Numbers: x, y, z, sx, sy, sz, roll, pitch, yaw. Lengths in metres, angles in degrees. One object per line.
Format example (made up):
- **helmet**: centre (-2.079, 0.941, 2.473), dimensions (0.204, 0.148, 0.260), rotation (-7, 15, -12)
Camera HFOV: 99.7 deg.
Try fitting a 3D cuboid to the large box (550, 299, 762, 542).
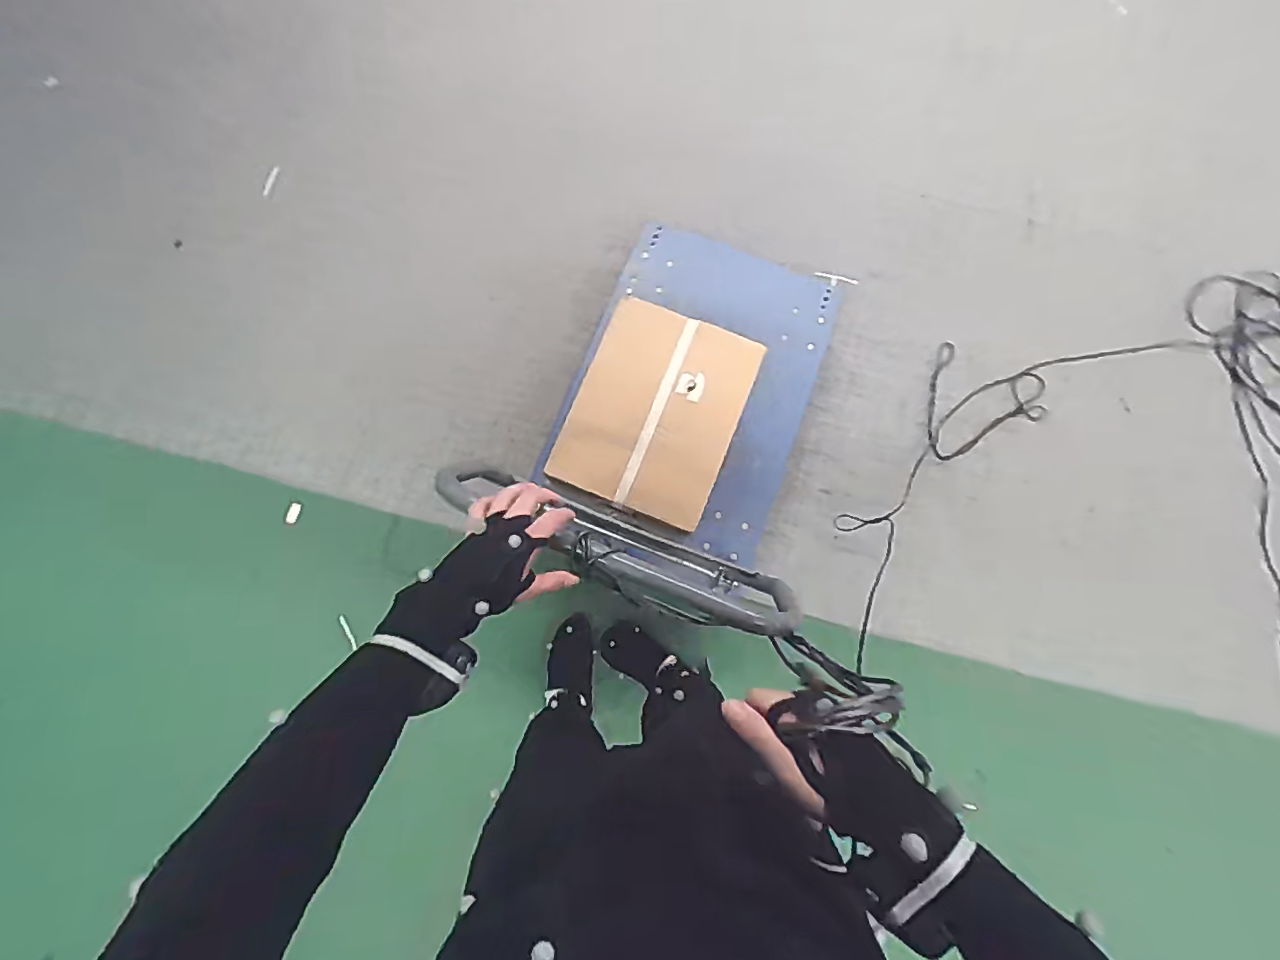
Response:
- **large box**: centre (0.037, -0.108, 1.205), dimensions (0.320, 0.320, 0.408), rotation (22, 80, 3)
